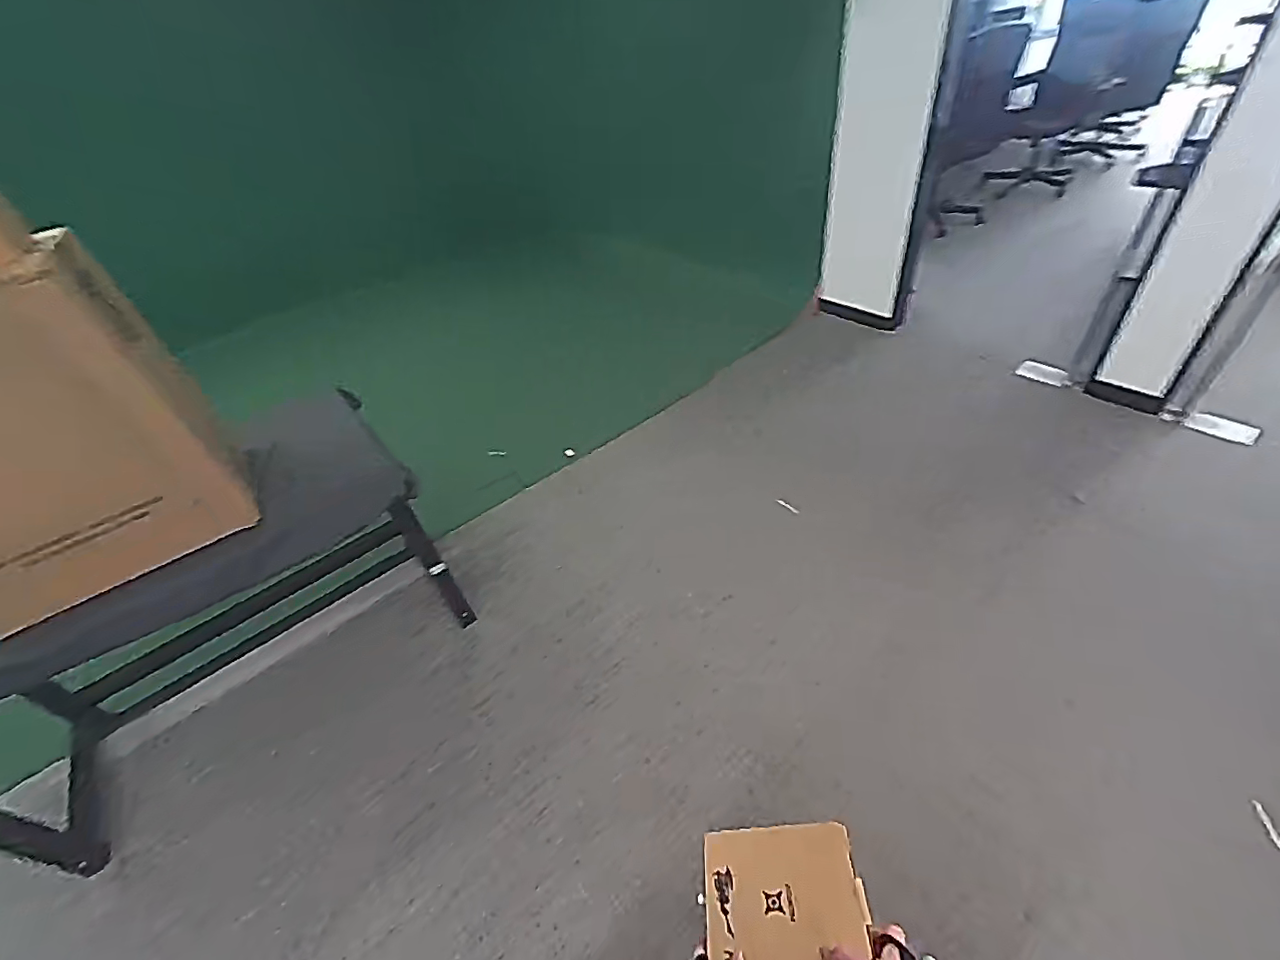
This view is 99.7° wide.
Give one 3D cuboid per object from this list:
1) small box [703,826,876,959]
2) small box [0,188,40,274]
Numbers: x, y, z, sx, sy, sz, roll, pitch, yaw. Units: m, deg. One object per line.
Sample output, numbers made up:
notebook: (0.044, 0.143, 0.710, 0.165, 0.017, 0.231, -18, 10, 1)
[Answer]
small box: (0.178, 0.547, 0.642, 0.179, 0.176, 0.168, -11, 27, 10)
small box: (-1.187, -0.443, 0.915, 0.168, 0.176, 0.179, -28, 47, -22)
